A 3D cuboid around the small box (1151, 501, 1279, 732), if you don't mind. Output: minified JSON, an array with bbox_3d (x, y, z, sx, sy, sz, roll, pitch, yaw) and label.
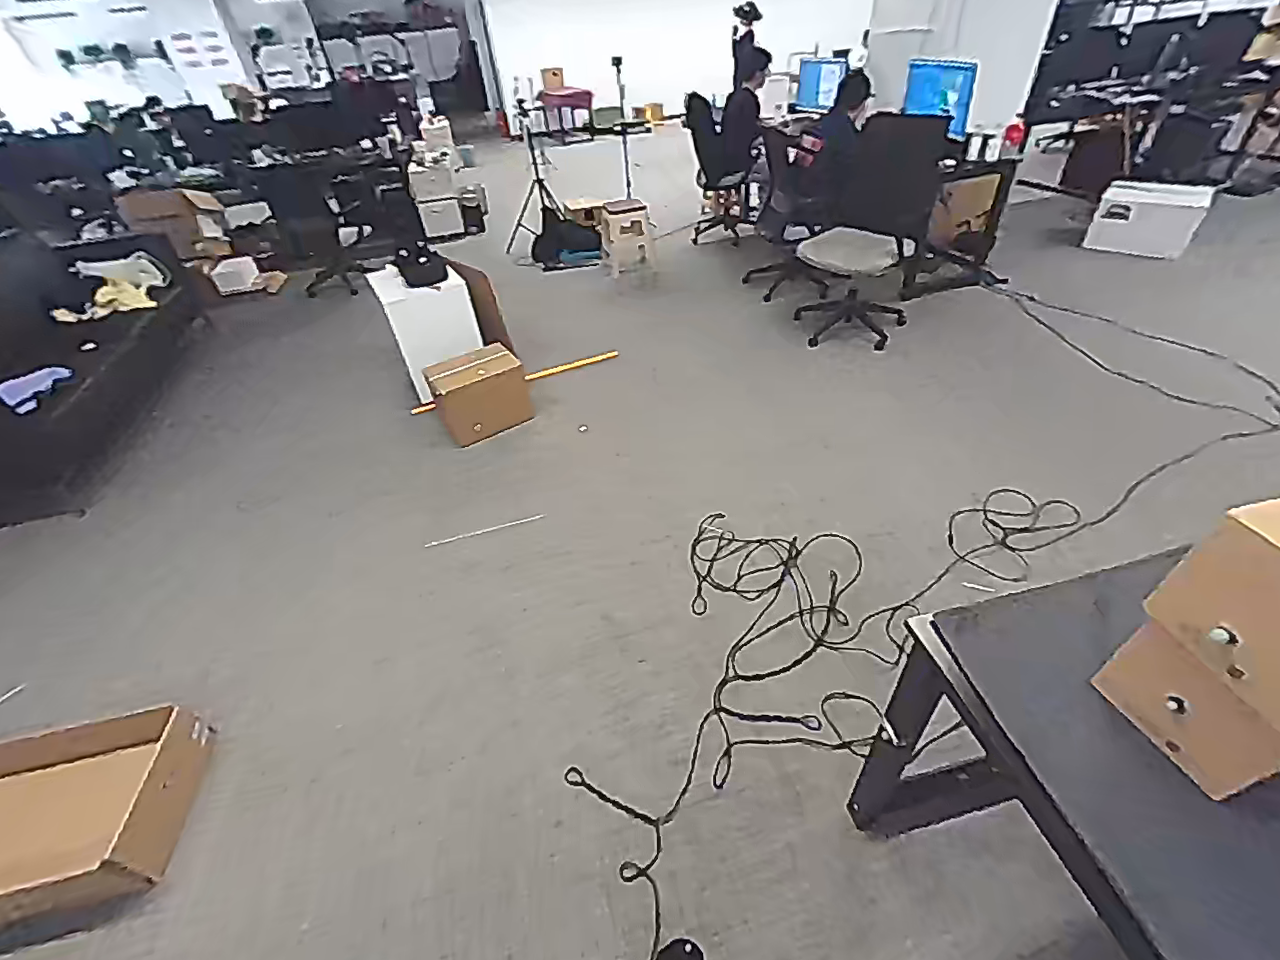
[{"bbox_3d":[0.702,0.132,0.554,0.179,0.176,0.168,-10,41,-5],"label":"small box"}]

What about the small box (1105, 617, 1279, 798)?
[{"bbox_3d":[0.729,0.253,0.662,0.179,0.176,0.168,-15,42,-11],"label":"small box"}]
